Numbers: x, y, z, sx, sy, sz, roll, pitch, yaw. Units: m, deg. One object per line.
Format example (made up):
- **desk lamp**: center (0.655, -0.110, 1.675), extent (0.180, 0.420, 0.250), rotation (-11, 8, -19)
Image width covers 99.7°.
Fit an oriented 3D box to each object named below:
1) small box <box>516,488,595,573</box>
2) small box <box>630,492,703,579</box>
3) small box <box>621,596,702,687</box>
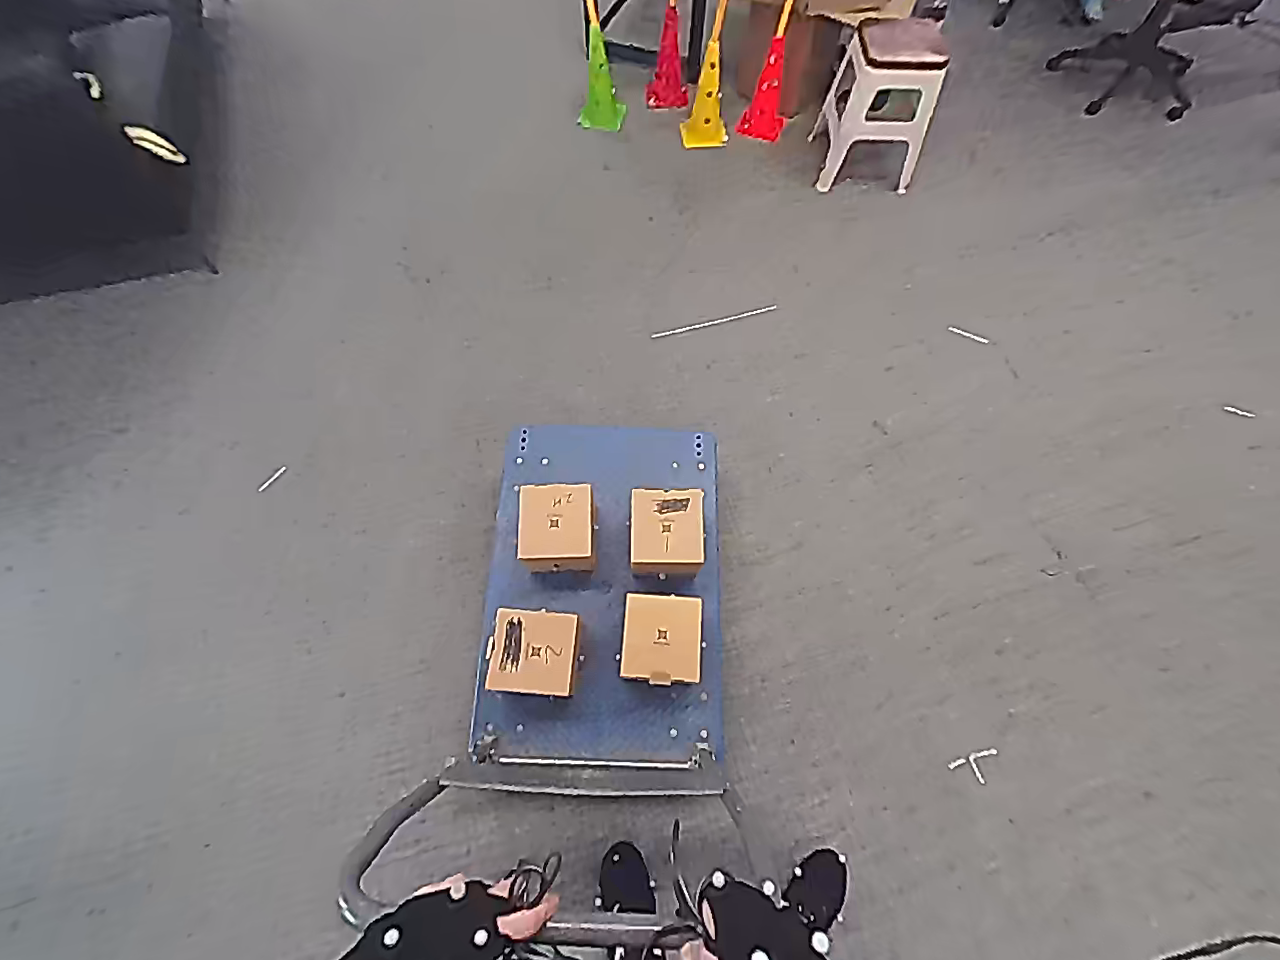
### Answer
- **small box**: center (-0.195, 0.128, 1.303), extent (0.168, 0.176, 0.179), rotation (-1, 70, -1)
- **small box**: center (0.060, 0.137, 1.300), extent (0.168, 0.176, 0.179), rotation (0, 70, 1)
- **small box**: center (0.046, 0.367, 1.217), extent (0.168, 0.176, 0.179), rotation (3, 71, 1)
